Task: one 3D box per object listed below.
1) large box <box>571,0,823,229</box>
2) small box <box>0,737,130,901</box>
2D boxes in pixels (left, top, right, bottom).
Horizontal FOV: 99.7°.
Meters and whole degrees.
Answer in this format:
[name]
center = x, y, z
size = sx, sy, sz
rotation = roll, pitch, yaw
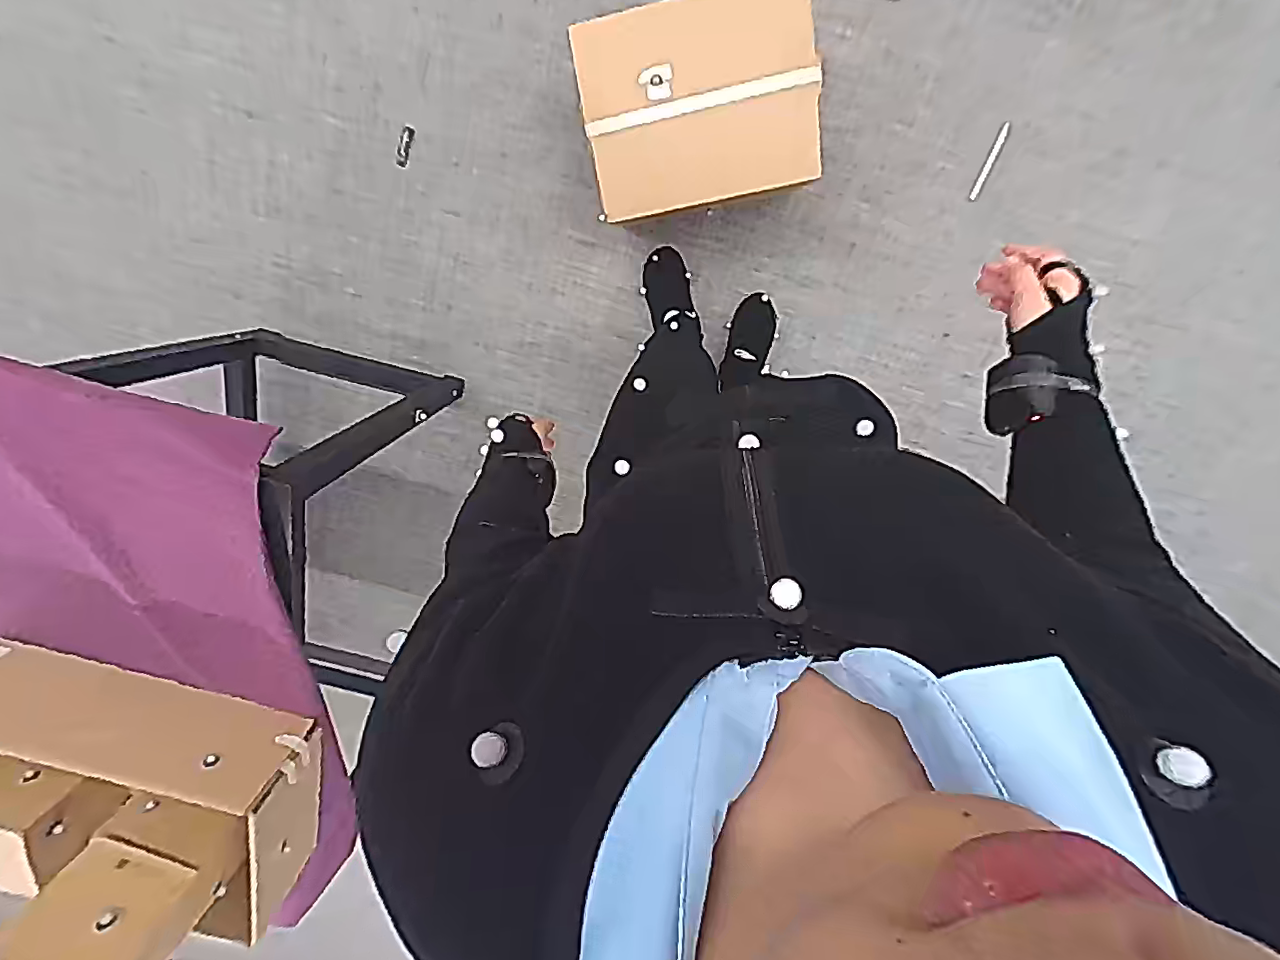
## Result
[large box]
center = 0.119, -0.709, 1.077
size = 0.408, 0.320, 0.320
rotation = -8, 111, 10
[small box]
center = -1.072, 0.594, 0.961
size = 0.168, 0.176, 0.179
rotation = 12, 113, -1
